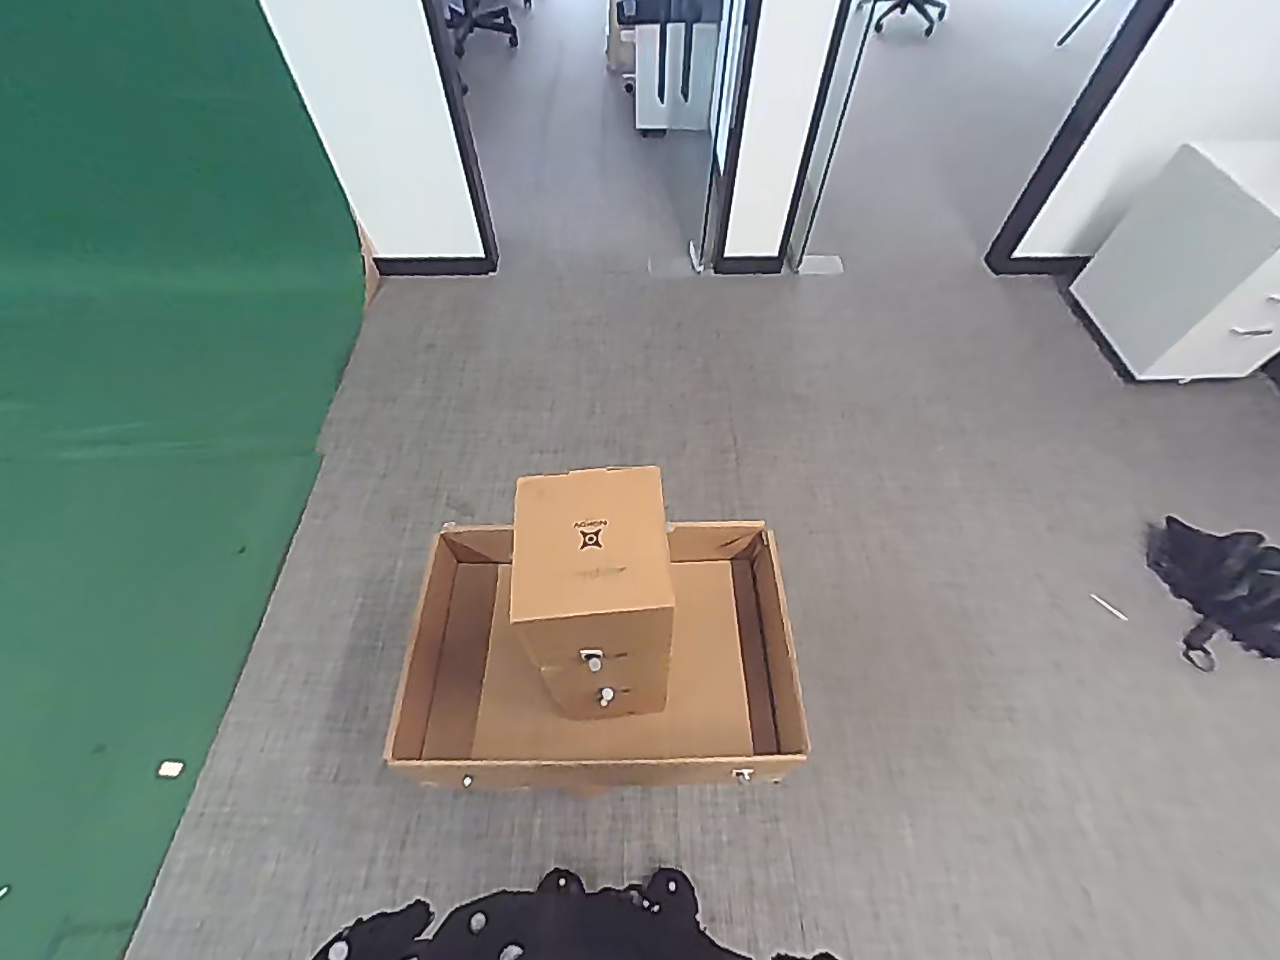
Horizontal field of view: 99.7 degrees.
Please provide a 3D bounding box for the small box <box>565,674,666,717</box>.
[{"bbox_3d":[-0.049,0.286,0.919,0.168,0.176,0.179,-6,55,-2],"label":"small box"}]

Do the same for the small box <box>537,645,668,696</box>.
[{"bbox_3d":[-0.053,0.196,0.781,0.168,0.176,0.179,-5,56,-2],"label":"small box"}]

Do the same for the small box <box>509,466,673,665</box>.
[{"bbox_3d":[-0.054,0.105,0.648,0.168,0.176,0.179,-6,56,-2],"label":"small box"}]
